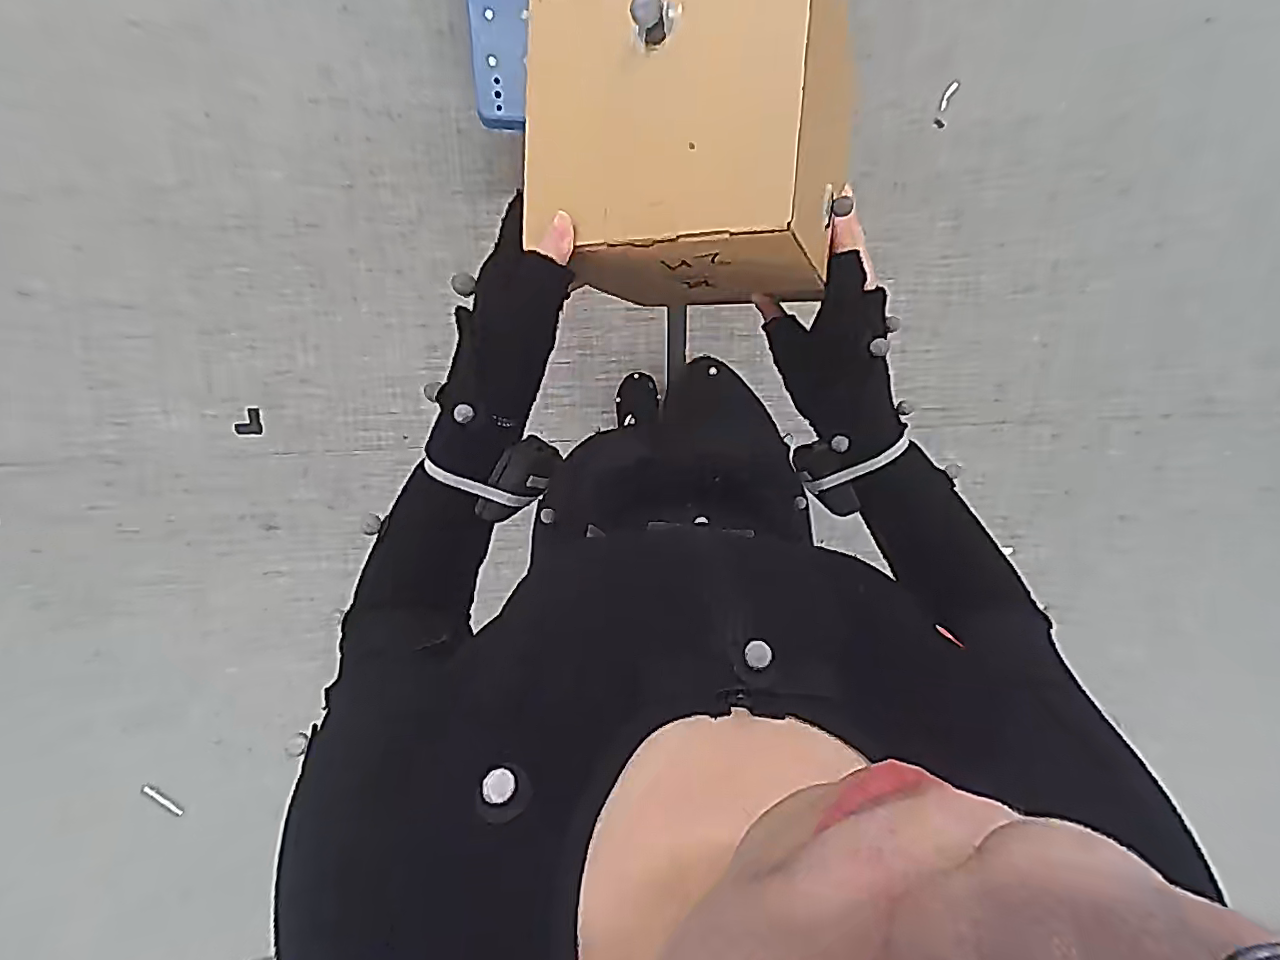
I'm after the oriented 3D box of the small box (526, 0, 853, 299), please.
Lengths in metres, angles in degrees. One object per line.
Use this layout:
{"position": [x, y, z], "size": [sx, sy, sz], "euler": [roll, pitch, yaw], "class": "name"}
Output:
{"position": [0.043, -0.227, 0.364], "size": [0.168, 0.179, 0.176], "euler": [7, 98, 26], "class": "small box"}
